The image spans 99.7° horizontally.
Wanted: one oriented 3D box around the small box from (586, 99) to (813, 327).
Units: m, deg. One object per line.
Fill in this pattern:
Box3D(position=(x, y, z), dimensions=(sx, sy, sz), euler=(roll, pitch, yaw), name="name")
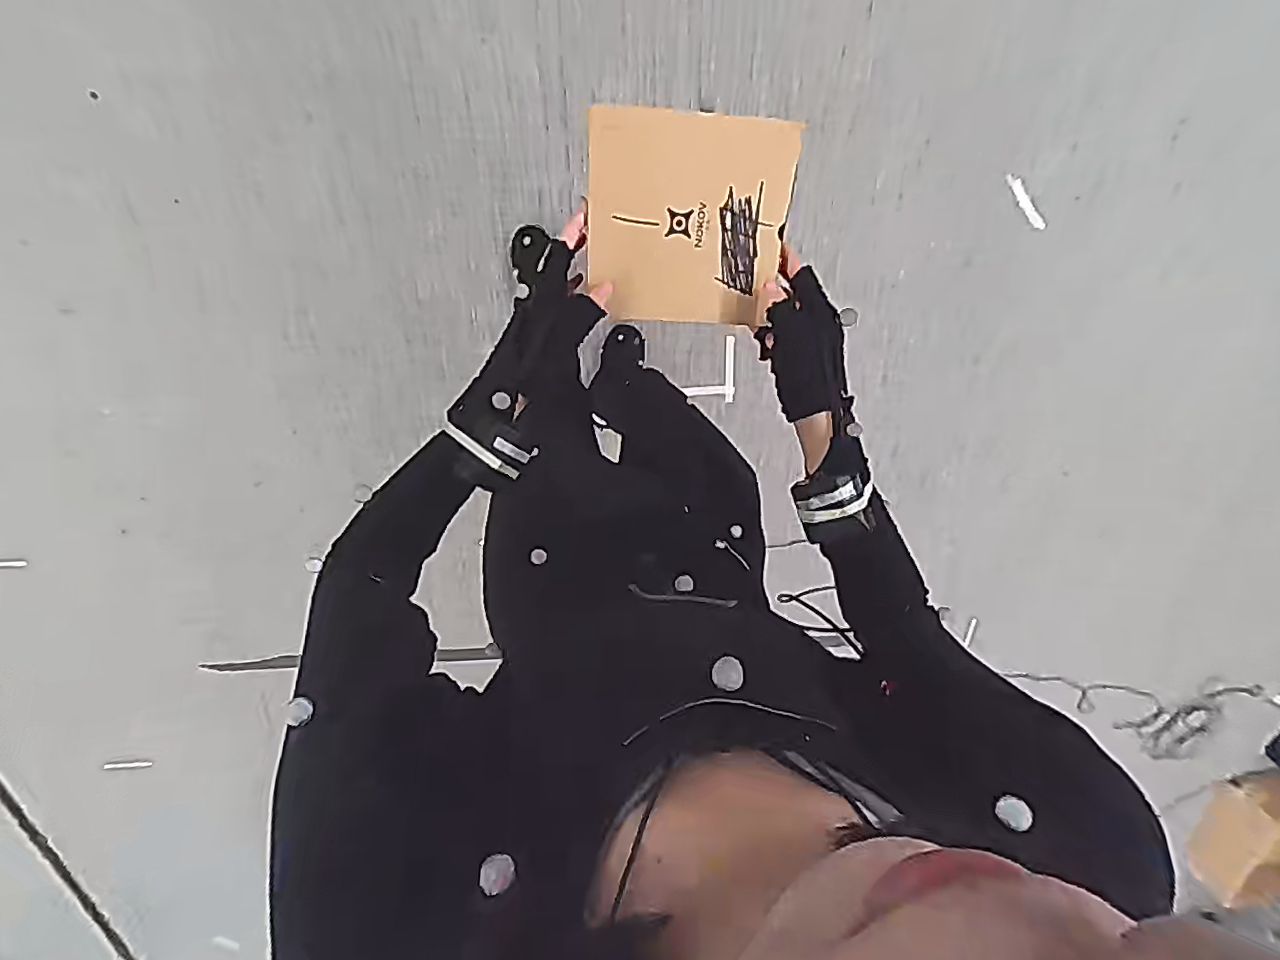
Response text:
Box3D(position=(0.038, -0.255, 0.524), dimensions=(0.179, 0.176, 0.168), euler=(1, 119, -6), name="small box")
